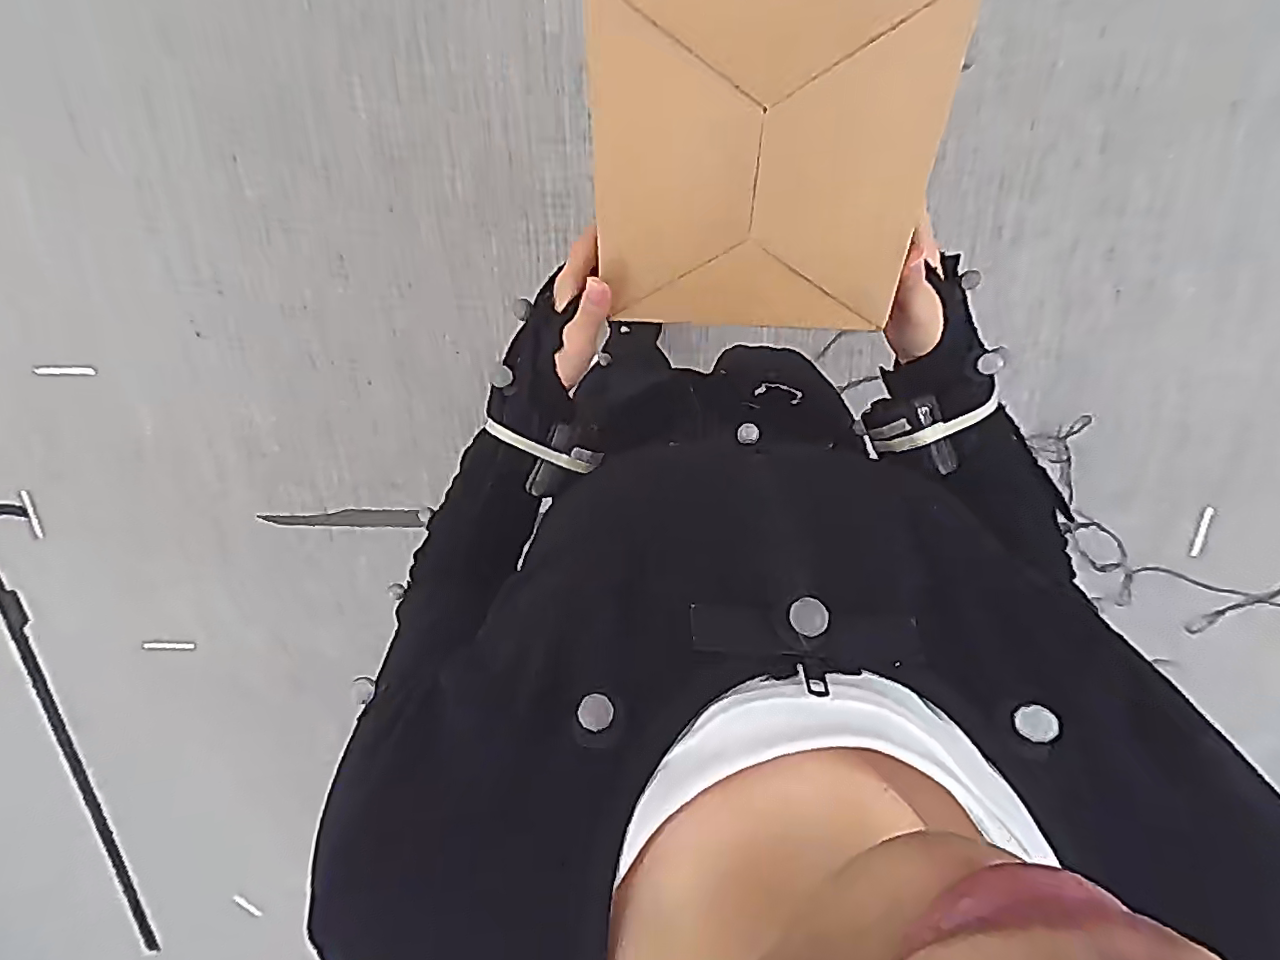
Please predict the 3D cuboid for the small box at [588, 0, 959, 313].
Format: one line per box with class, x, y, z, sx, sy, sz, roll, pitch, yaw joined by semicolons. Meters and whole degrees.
small box;0.073;-0.216;0.343;0.179;0.176;0.168;4;129;5
